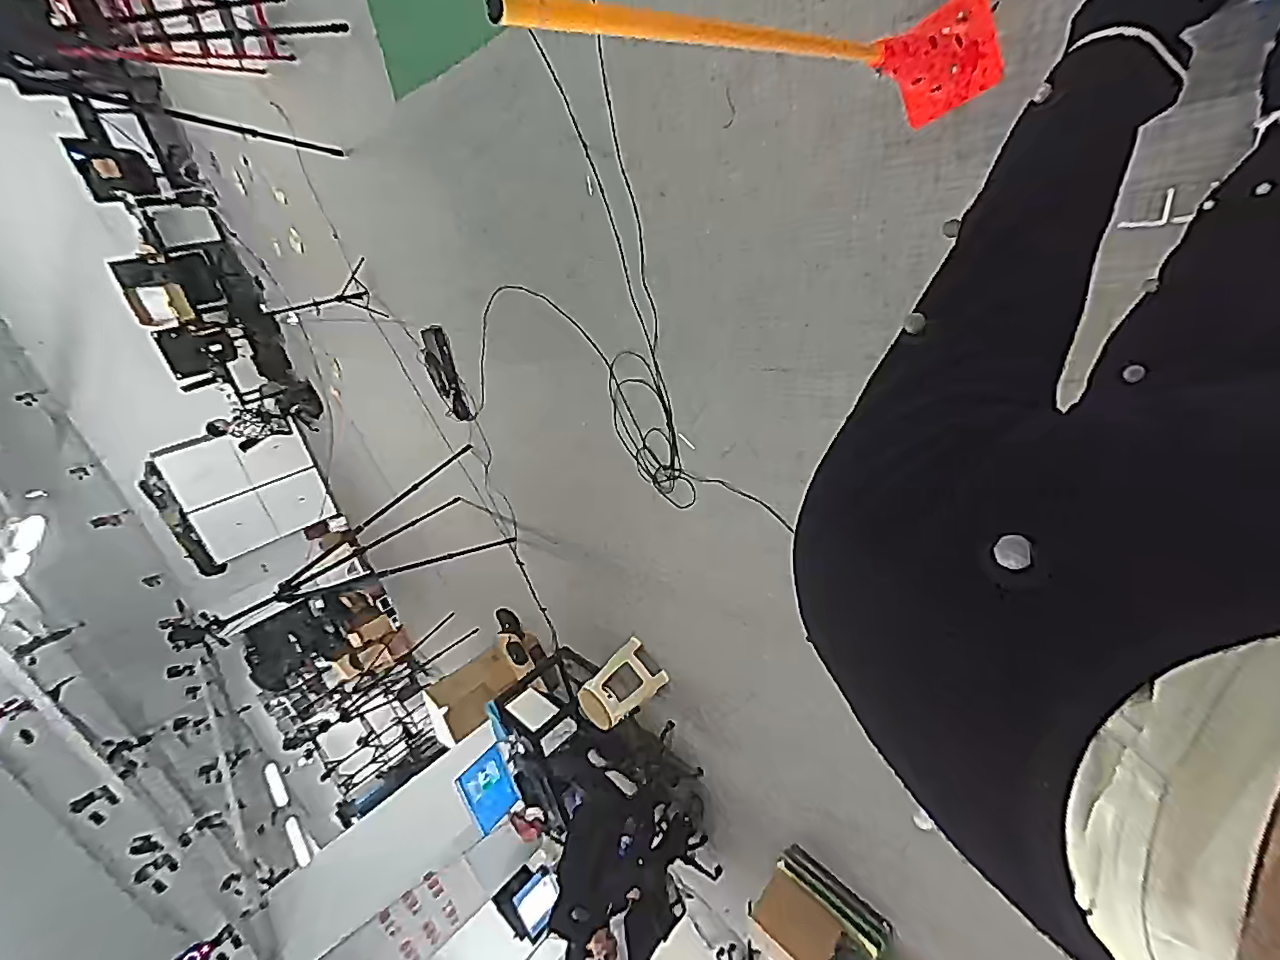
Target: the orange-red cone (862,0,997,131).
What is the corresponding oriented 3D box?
[{"bbox_3d":[0.555,-0.855,1.111,0.199,0.360,0.198,-4,110,53],"label":"orange-red cone"}]
